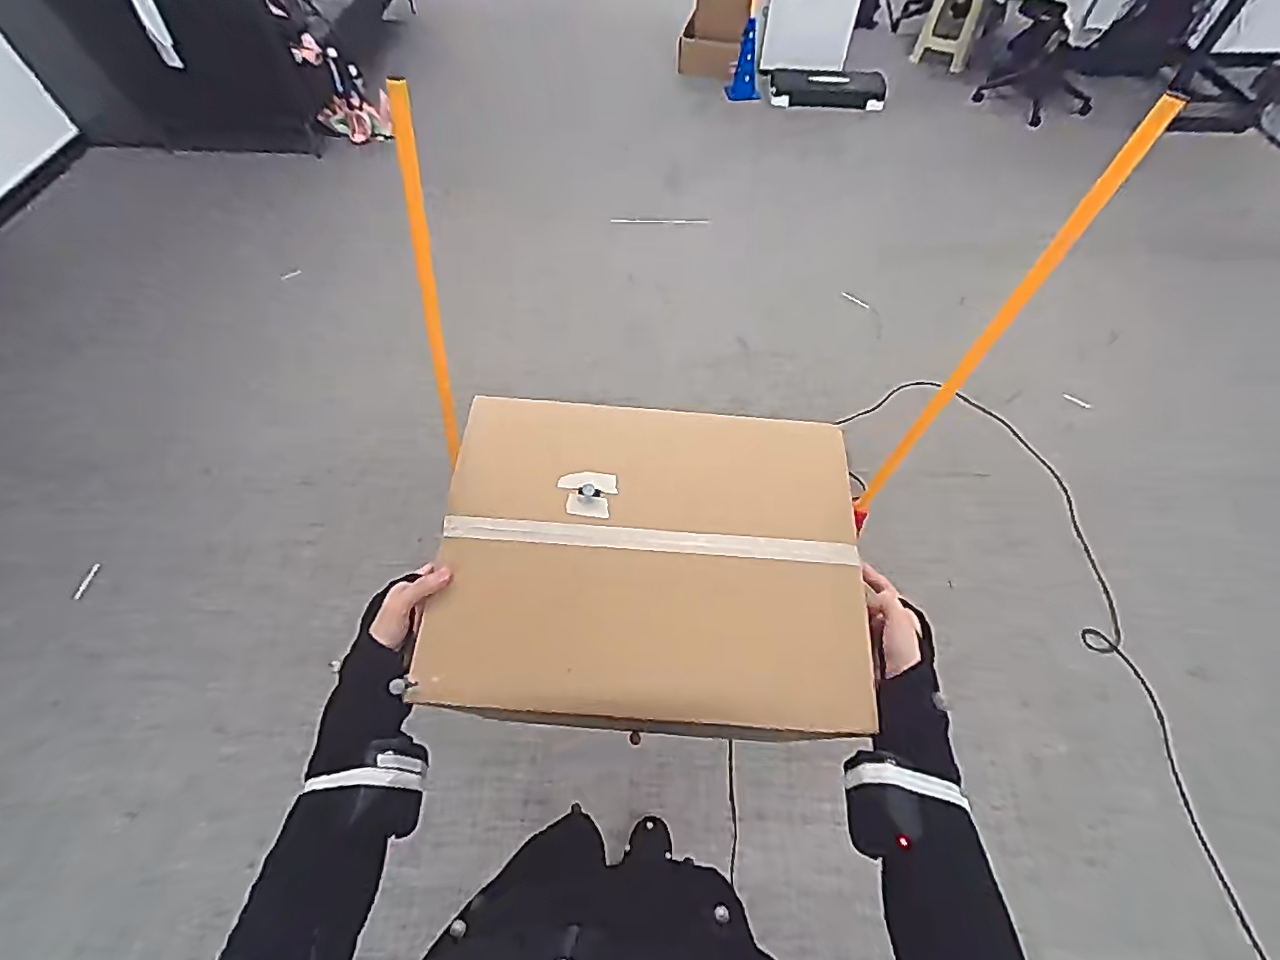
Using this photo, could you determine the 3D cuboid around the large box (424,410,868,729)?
[{"bbox_3d":[0.011,0.133,0.677,0.408,0.320,0.320,4,63,0],"label":"large box"}]
